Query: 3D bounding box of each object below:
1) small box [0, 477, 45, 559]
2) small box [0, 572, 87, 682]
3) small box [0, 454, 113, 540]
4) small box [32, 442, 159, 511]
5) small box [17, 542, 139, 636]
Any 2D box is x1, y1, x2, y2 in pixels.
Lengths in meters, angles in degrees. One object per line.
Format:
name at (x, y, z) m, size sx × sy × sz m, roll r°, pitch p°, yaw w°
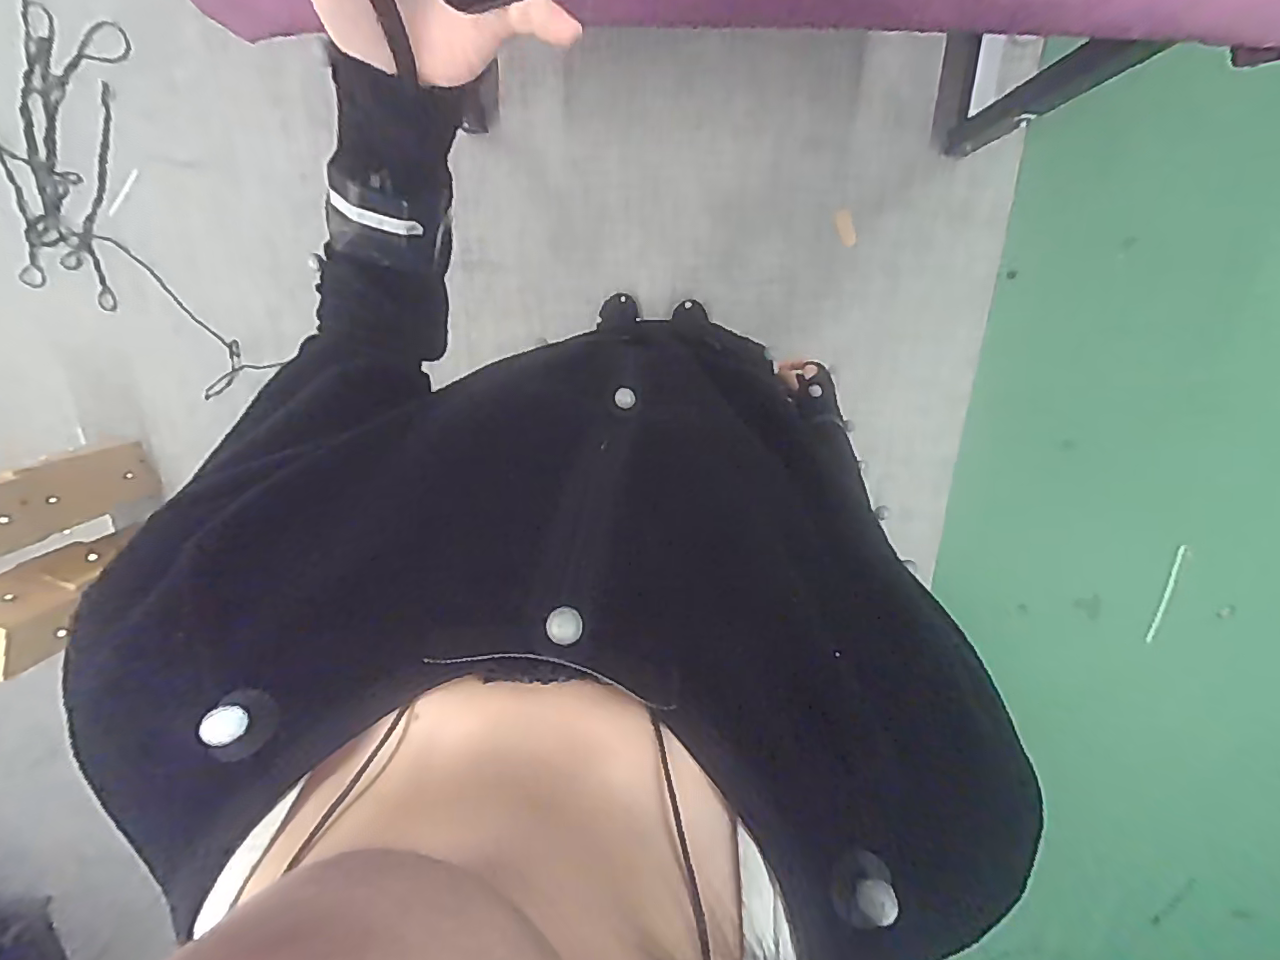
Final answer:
small box at (-1.537, 0.095, 1.236) m, size 0.179 × 0.176 × 0.168 m, roll -2°, pitch 108°, yaw 2°
small box at (-1.525, 0.348, 1.317) m, size 0.179 × 0.176 × 0.168 m, roll 23°, pitch 107°, yaw -4°
small box at (-1.534, 0.048, 1.392) m, size 0.168 × 0.176 × 0.179 m, roll -9°, pitch 107°, yaw 5°
small box at (-1.537, -0.008, 1.545) m, size 0.179 × 0.176 × 0.168 m, roll -5°, pitch 107°, yaw 5°
small box at (-1.523, 0.297, 1.473) m, size 0.168 × 0.176 × 0.179 m, roll 19°, pitch 107°, yaw -2°
